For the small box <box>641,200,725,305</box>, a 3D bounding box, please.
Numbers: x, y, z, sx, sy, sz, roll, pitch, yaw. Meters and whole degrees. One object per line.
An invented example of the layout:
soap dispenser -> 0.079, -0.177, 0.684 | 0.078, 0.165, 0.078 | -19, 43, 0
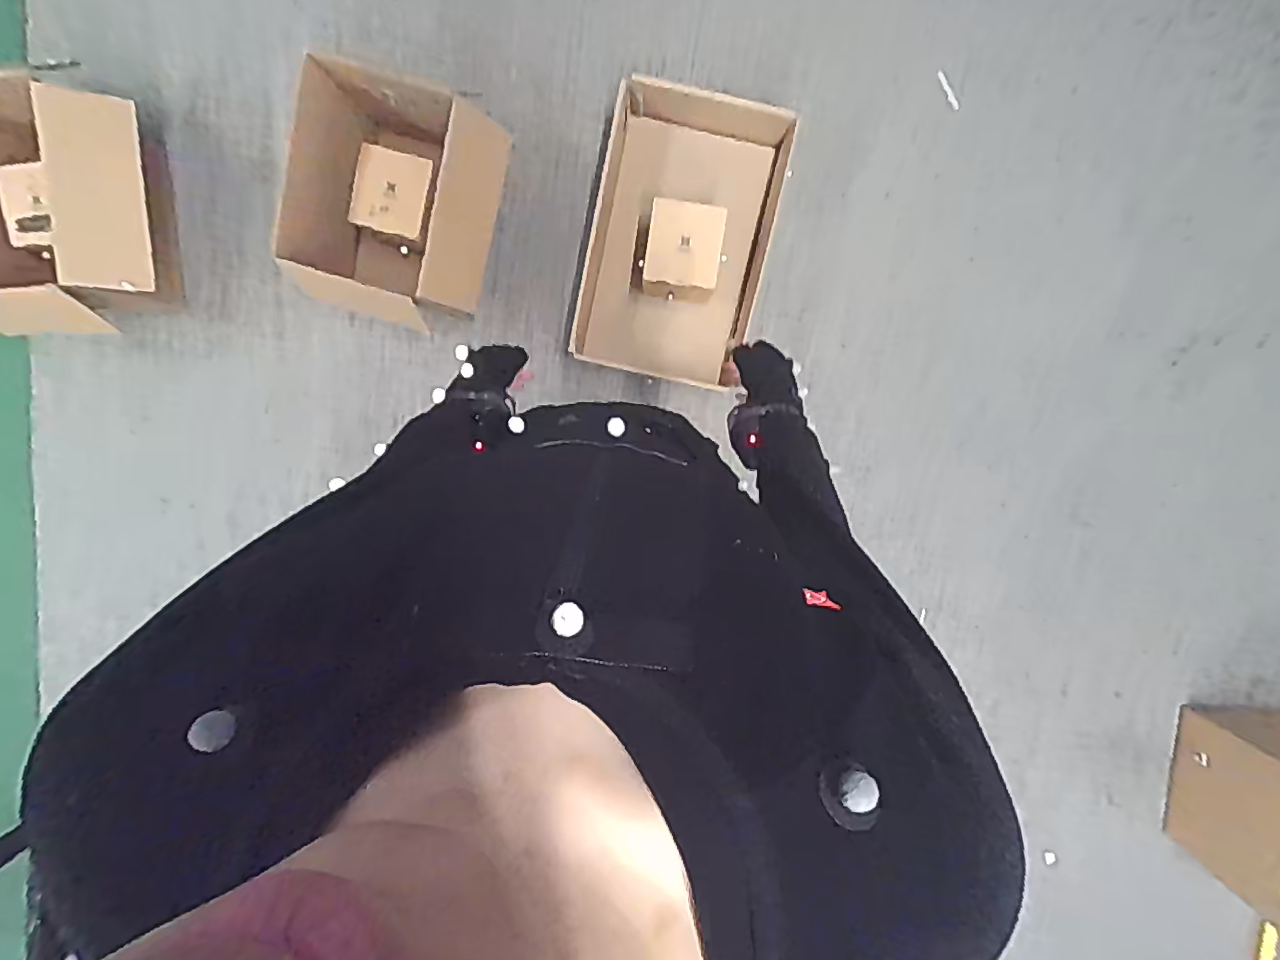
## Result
small box -> 0.094, -0.525, 1.266 | 0.168, 0.176, 0.179 | 8, 98, 0
